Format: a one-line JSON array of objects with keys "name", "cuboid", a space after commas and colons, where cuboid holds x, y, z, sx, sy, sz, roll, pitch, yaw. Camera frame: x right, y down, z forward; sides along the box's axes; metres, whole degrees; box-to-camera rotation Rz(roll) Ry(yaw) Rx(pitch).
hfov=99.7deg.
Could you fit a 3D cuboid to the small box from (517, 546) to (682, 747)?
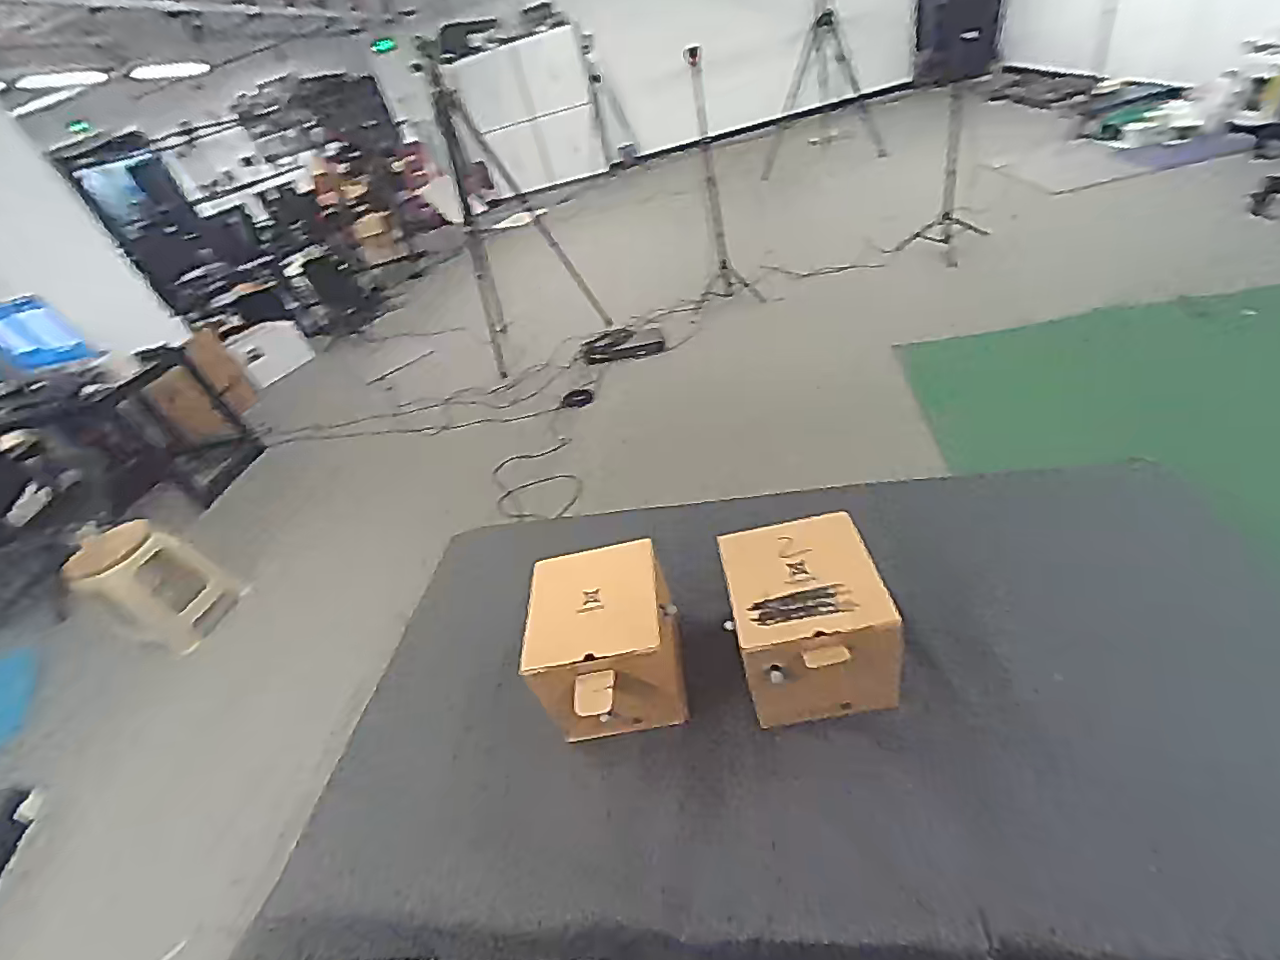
[{"name": "small box", "cuboid": [-0.046, 0.219, 0.714, 0.168, 0.176, 0.179, -13, 38, 6]}]
